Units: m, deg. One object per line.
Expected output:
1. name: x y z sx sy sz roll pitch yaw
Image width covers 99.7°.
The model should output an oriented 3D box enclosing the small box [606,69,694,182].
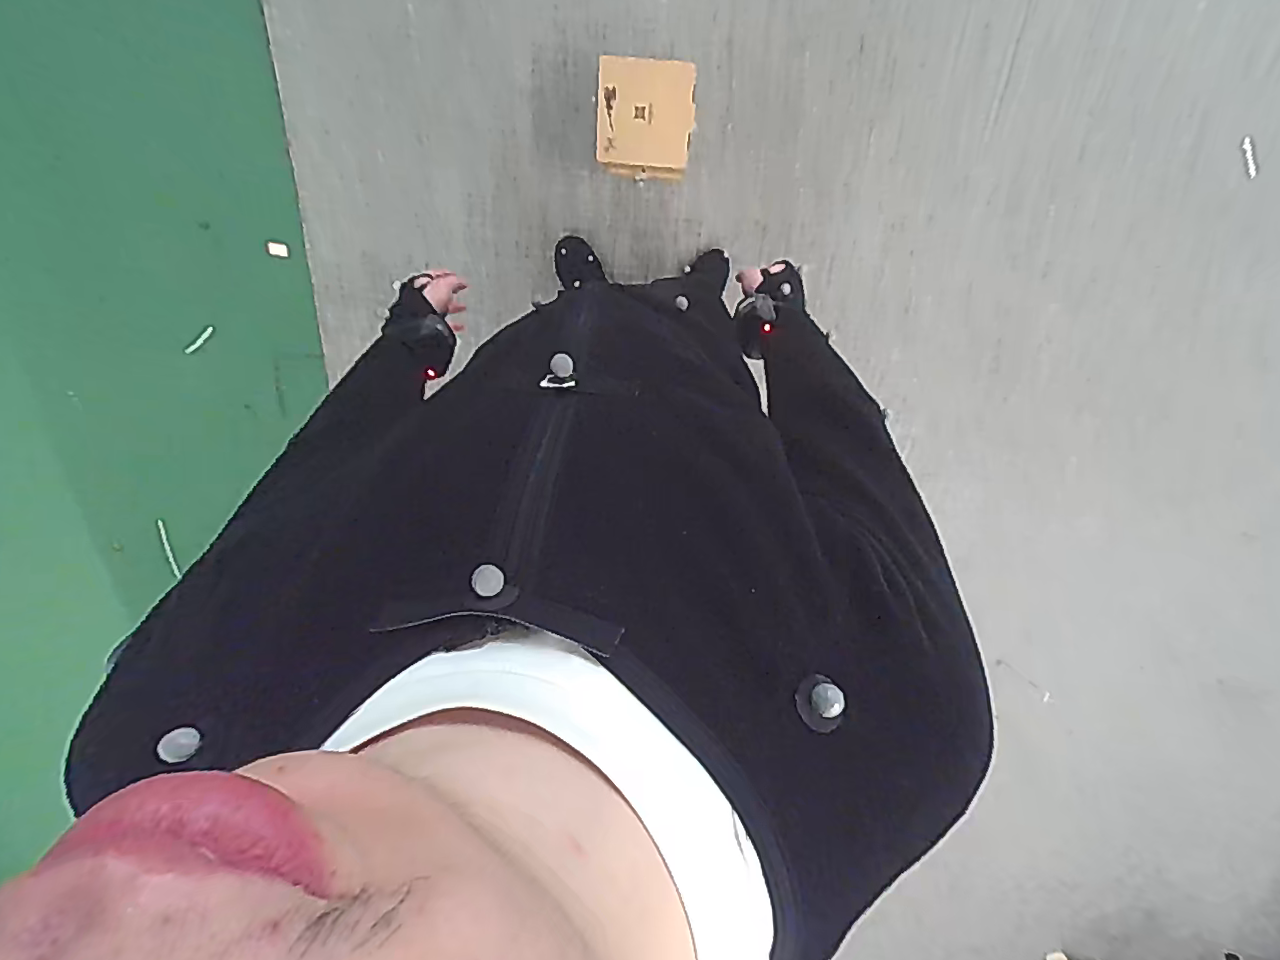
1. small box: 0.021 -0.771 1.192 0.168 0.176 0.179 7 117 0
